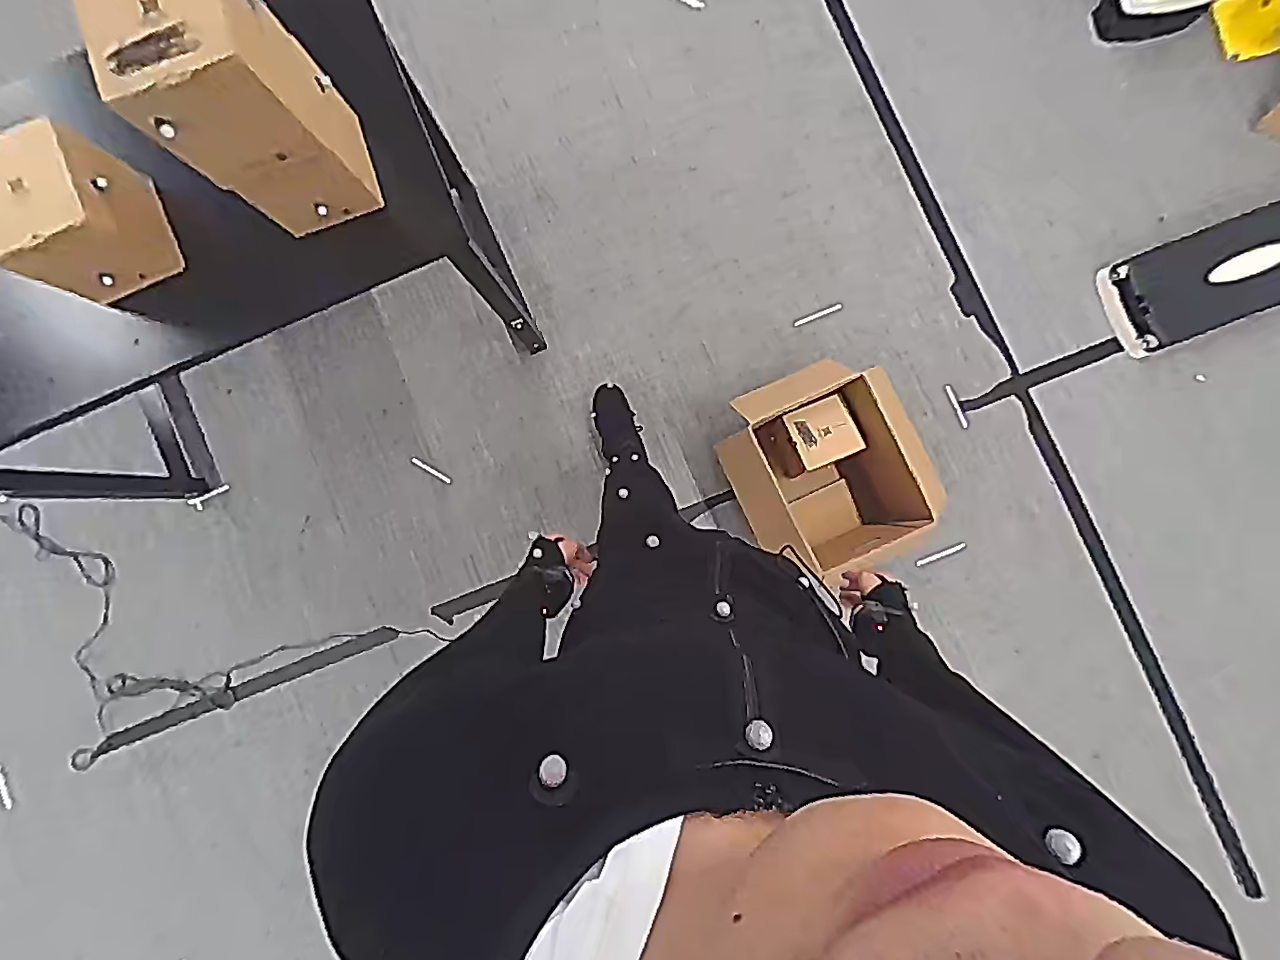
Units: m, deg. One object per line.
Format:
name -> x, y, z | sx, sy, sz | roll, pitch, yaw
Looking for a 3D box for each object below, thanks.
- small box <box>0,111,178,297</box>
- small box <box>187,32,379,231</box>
small box -> -0.902, -0.424, 0.860 | 0.168, 0.176, 0.179 | -23, 88, 1
small box -> -0.547, -0.533, 0.850 | 0.168, 0.176, 0.179 | -18, 87, 2
